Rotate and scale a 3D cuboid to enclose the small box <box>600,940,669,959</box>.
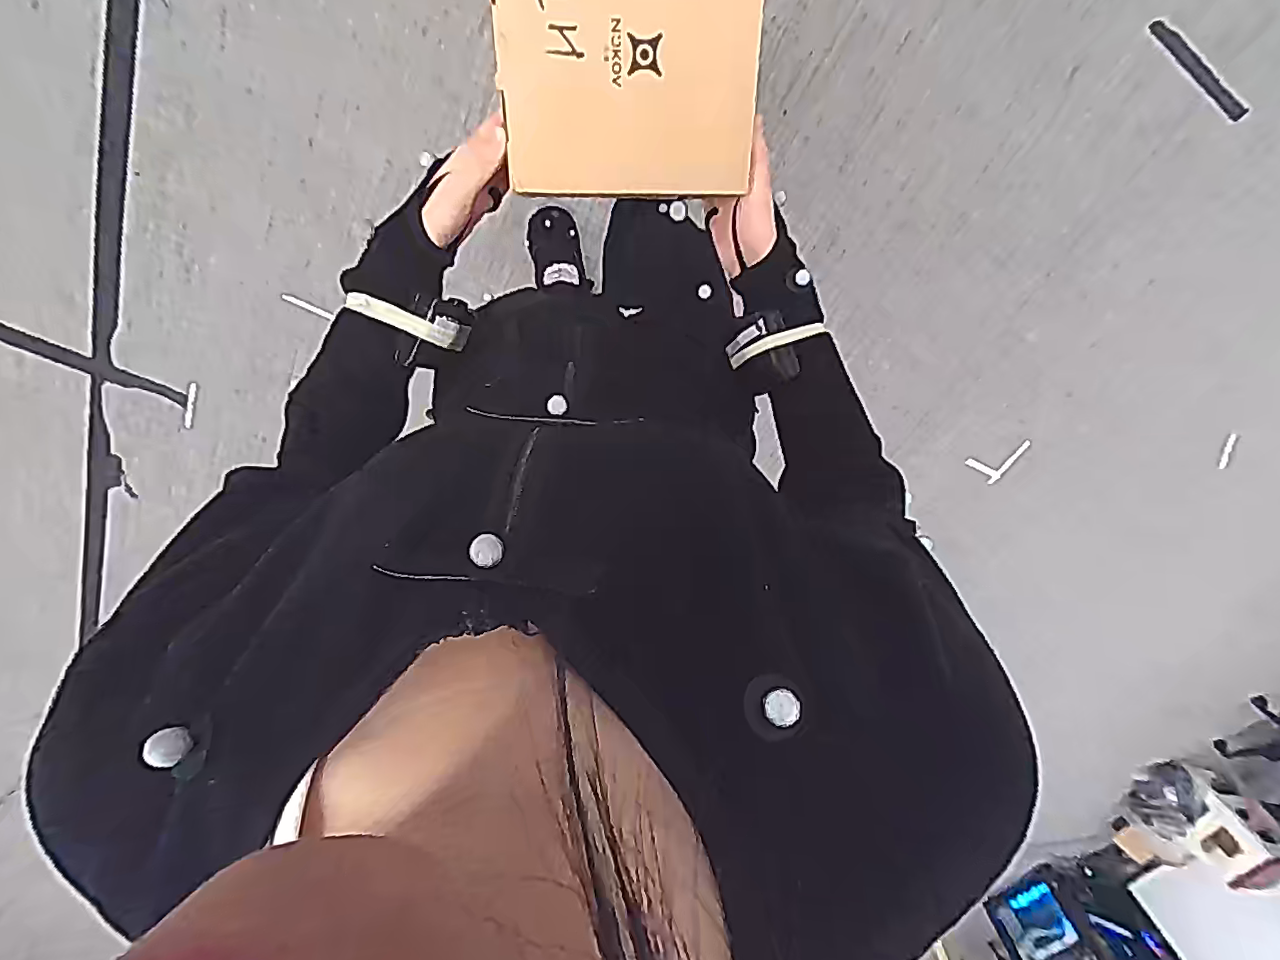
[{"bbox_3d":[-0.013,1.563,1.678,0.179,0.176,0.168,21,117,-18],"label":"small box"}]

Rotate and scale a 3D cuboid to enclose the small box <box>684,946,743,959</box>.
[{"bbox_3d":[0.246,1.666,1.776,0.168,0.176,0.179,20,118,-18],"label":"small box"}]

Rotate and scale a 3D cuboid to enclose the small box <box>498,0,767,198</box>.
[{"bbox_3d":[-0.014,-0.319,0.426,0.179,0.176,0.168,-3,117,-6],"label":"small box"}]
